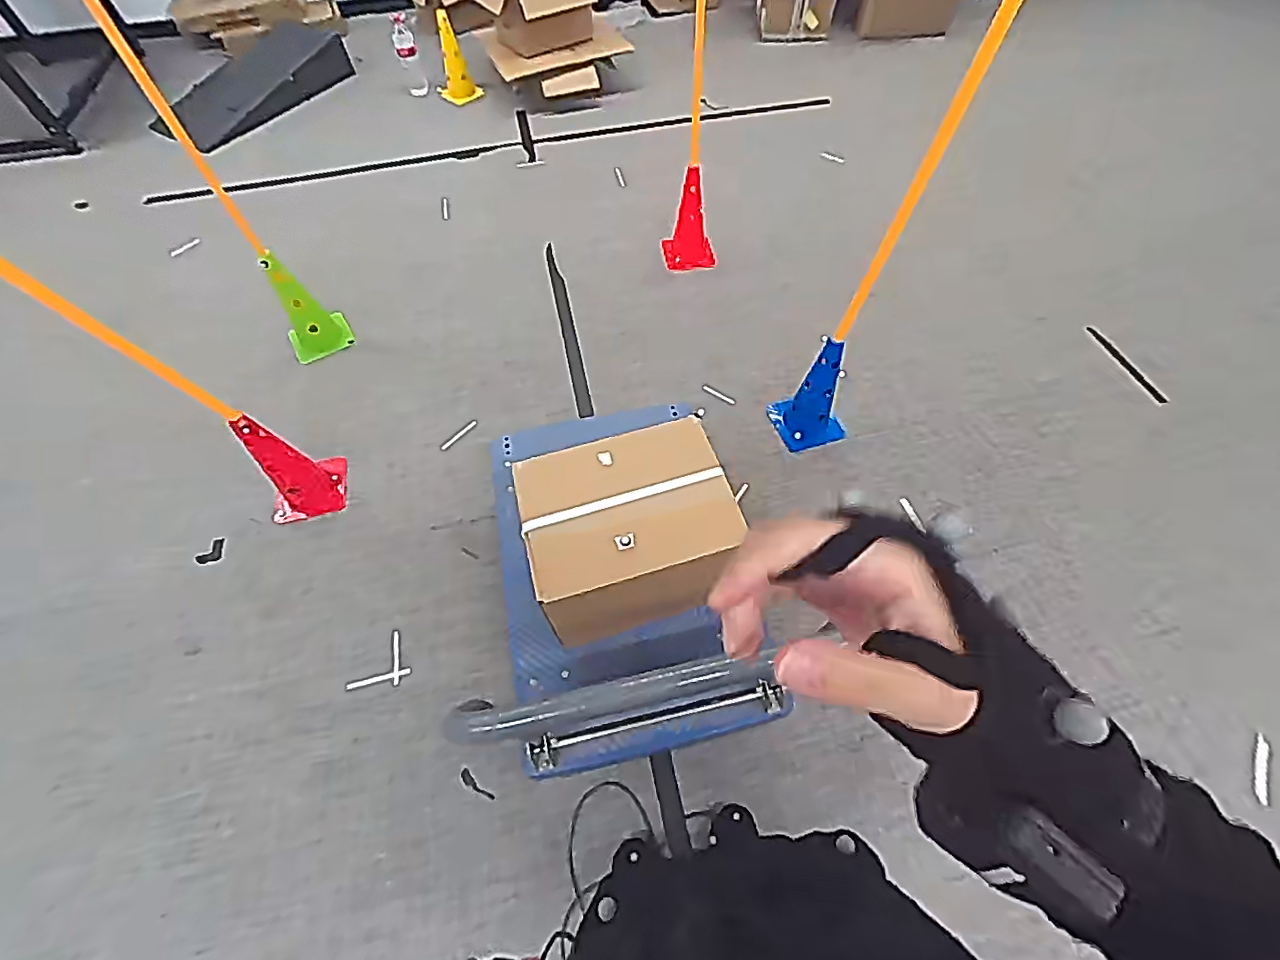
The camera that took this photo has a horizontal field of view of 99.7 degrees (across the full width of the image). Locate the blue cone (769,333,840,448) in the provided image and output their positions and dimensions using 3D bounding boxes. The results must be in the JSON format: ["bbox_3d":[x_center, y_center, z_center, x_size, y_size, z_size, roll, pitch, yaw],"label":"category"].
[{"bbox_3d":[0.530,-0.278,1.611,0.193,0.380,0.192,-15,58,-8],"label":"blue cone"}]

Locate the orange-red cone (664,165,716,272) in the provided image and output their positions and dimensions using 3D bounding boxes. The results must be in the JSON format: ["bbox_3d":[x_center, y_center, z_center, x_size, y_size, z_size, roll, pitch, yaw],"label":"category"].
[{"bbox_3d":[0.200,-1.004,2.050,0.199,0.360,0.198,-6,59,-3],"label":"orange-red cone"}]
